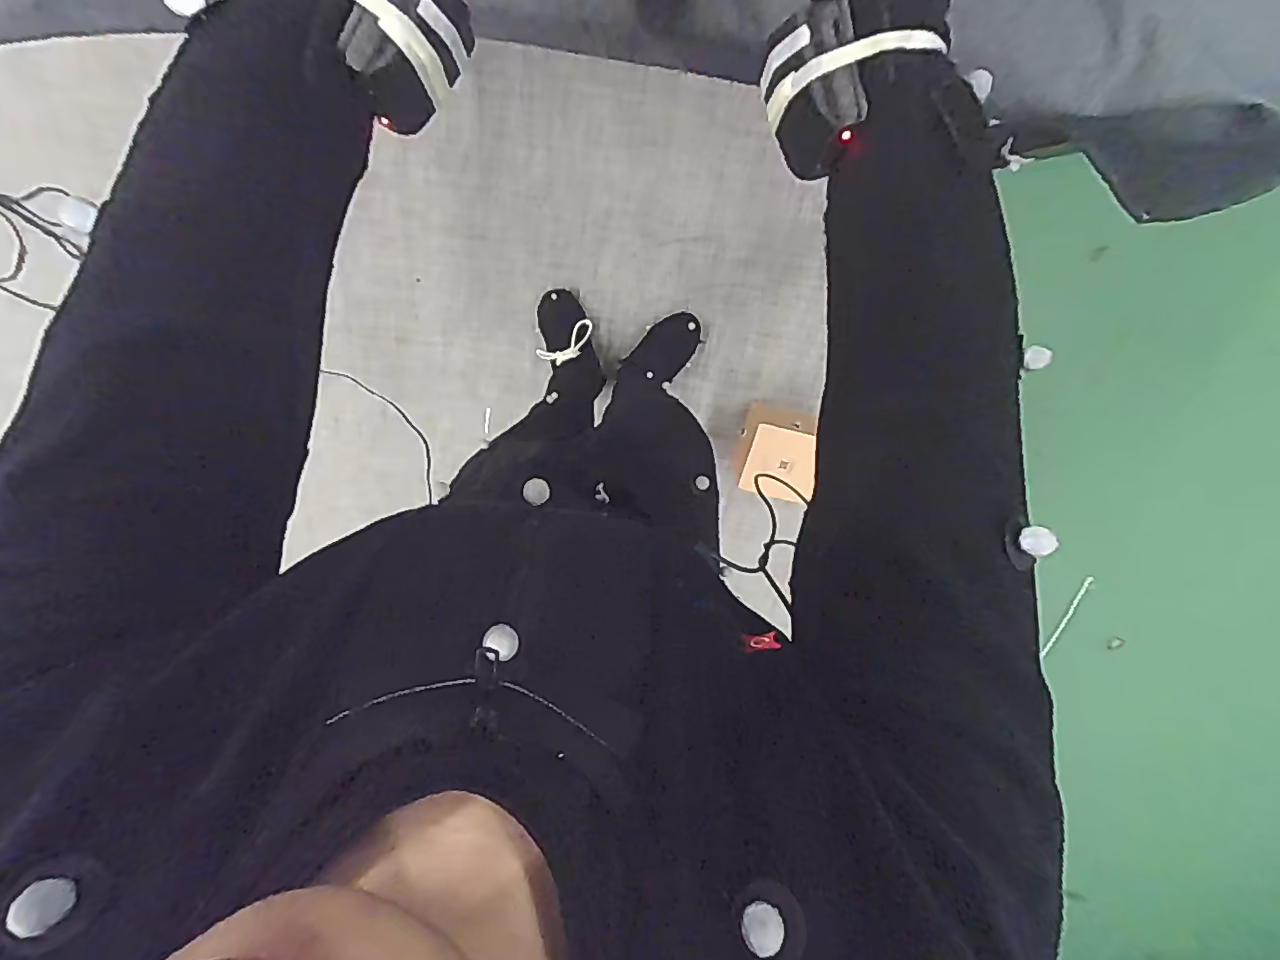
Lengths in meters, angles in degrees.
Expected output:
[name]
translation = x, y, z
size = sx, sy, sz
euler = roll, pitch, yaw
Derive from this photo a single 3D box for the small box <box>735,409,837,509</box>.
[small box]
translation = 0.333, -0.056, 1.272
size = 0.179, 0.176, 0.168
euler = 13, 114, 0
